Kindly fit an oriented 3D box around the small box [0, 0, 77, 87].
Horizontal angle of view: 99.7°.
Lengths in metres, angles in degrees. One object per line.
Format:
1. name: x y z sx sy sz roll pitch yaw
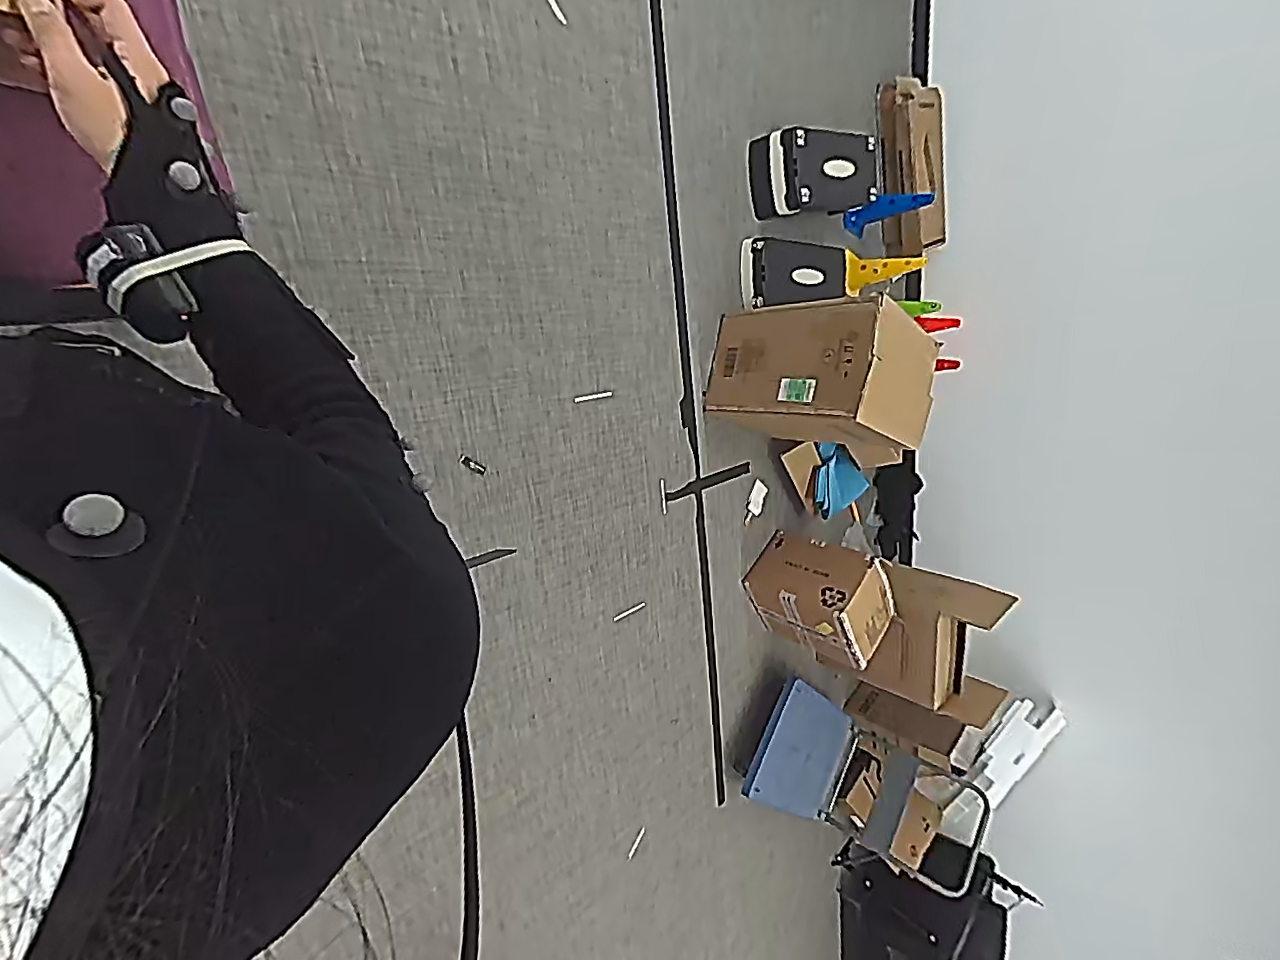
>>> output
1. small box: -0.466 -0.357 0.306 0.179 0.176 0.168 -12 112 -40
